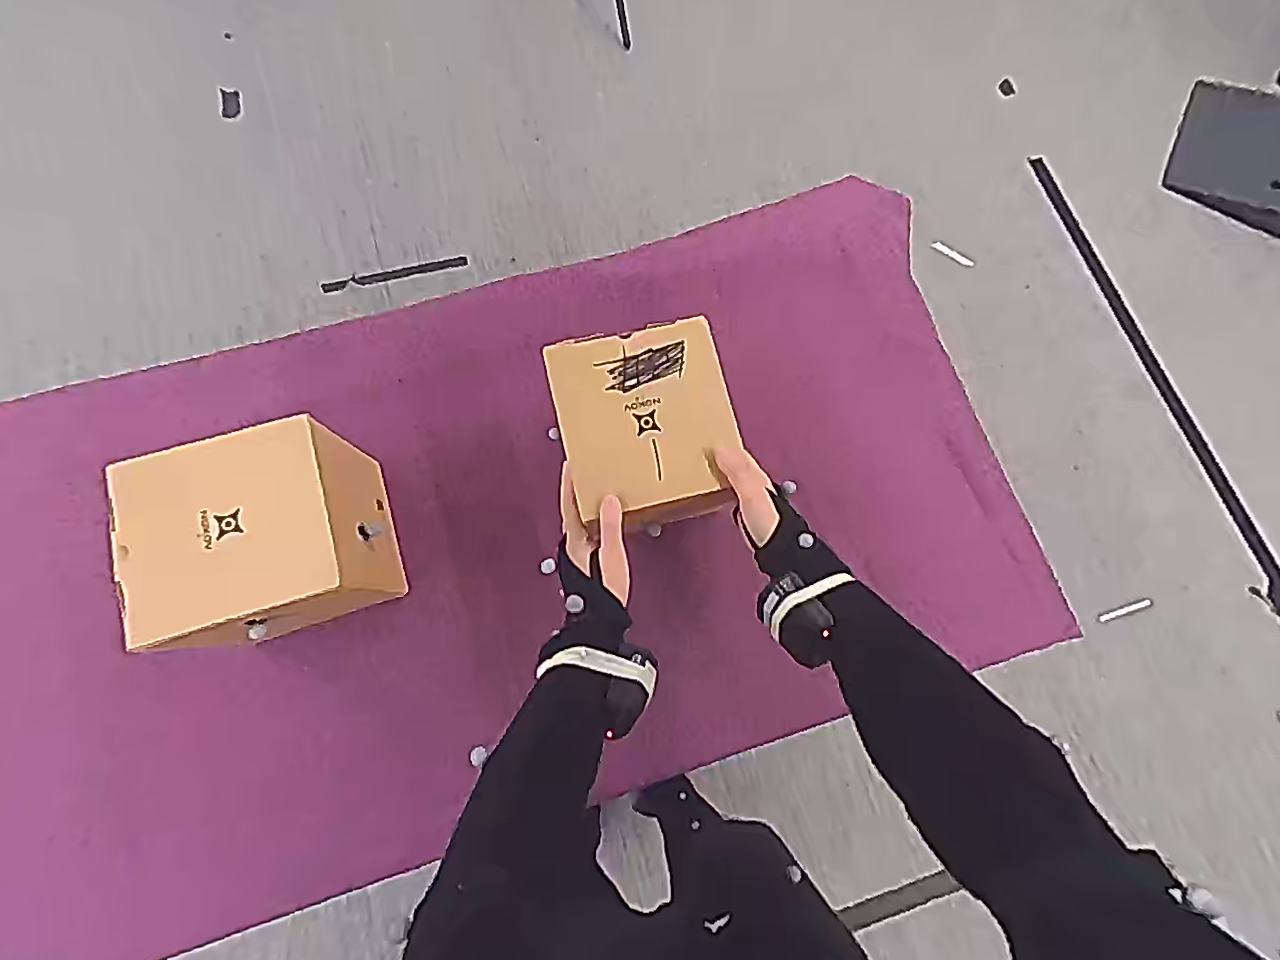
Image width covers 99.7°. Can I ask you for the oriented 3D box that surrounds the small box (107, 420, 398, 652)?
[{"bbox_3d":[-0.367,0.060,0.548,0.179,0.176,0.168,-17,78,-7],"label":"small box"}]

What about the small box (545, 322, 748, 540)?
[{"bbox_3d":[-0.002,-0.043,0.589,0.168,0.176,0.179,-13,79,-6],"label":"small box"}]
